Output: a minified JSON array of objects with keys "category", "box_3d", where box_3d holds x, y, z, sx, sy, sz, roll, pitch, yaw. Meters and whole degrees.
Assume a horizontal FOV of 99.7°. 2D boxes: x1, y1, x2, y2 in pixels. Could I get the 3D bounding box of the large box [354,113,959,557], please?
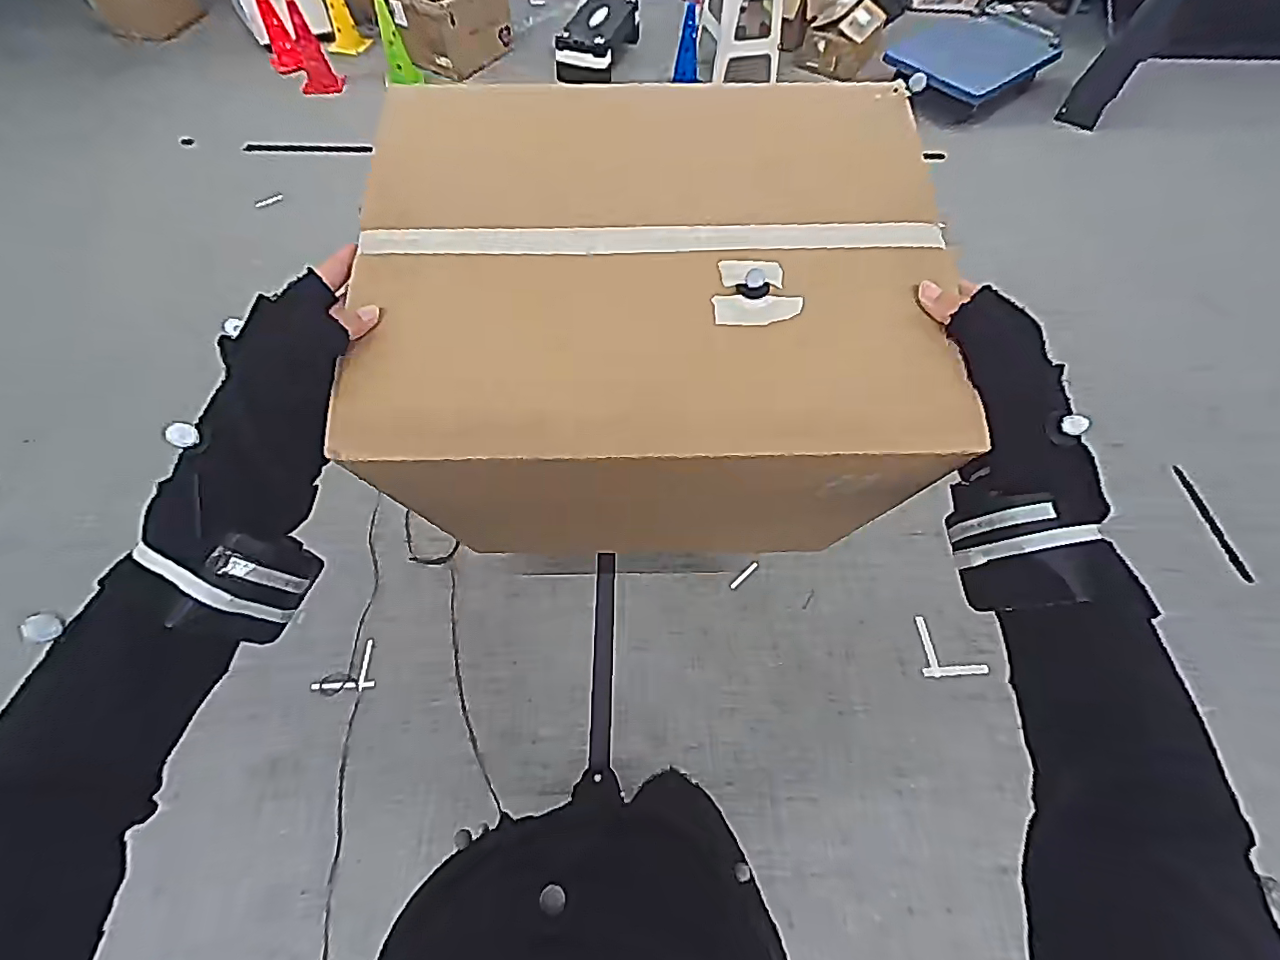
[{"category":"large box","box_3d":[0.006,-0.110,0.539,0.408,0.320,0.320,-1,71,-1]}]
